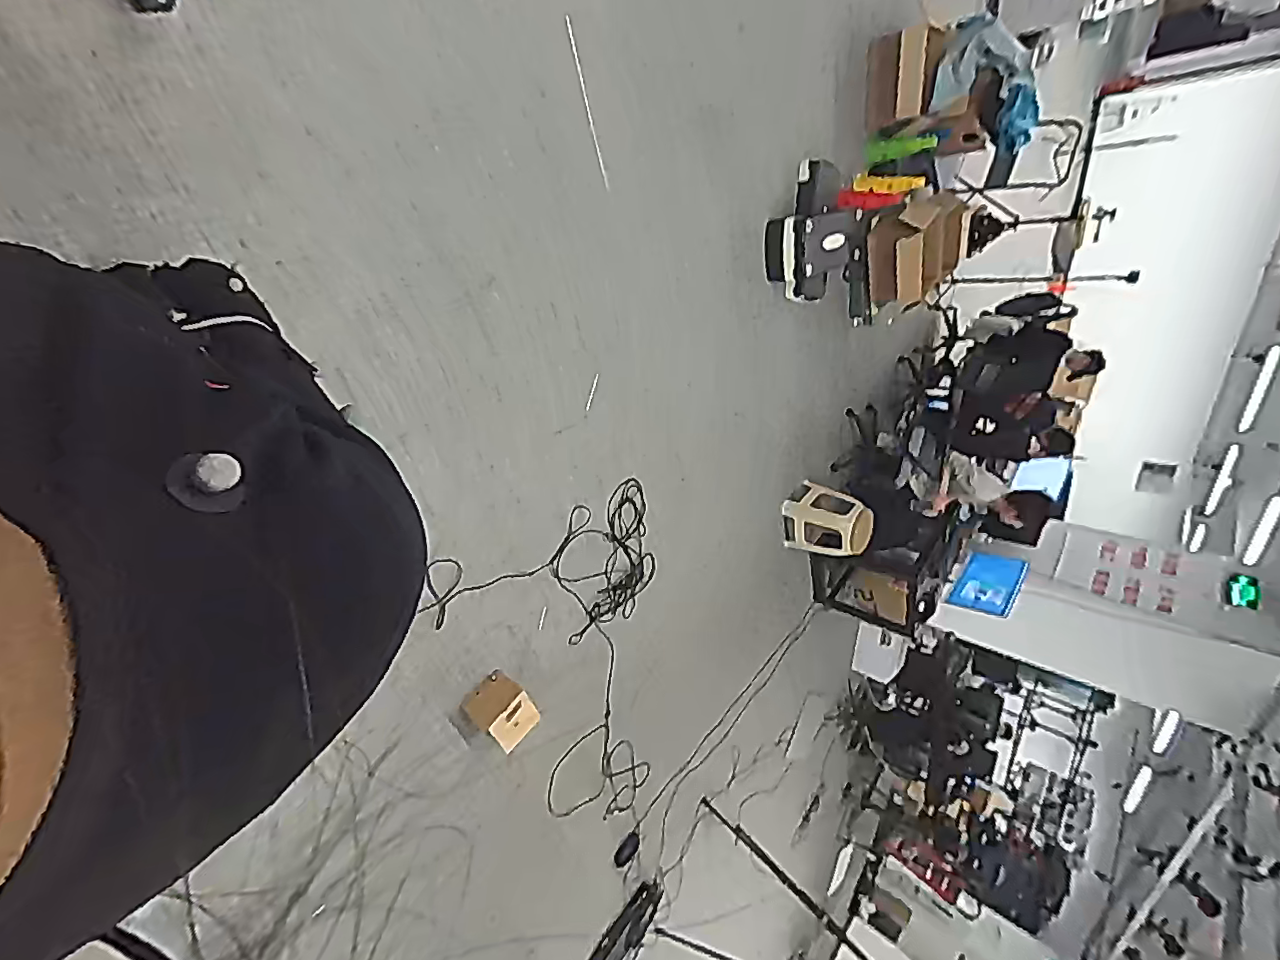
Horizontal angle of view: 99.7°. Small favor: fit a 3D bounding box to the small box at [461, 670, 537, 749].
[{"bbox_3d":[-0.505,0.806,1.924,0.168,0.176,0.179,-42,132,-32],"label":"small box"}]
